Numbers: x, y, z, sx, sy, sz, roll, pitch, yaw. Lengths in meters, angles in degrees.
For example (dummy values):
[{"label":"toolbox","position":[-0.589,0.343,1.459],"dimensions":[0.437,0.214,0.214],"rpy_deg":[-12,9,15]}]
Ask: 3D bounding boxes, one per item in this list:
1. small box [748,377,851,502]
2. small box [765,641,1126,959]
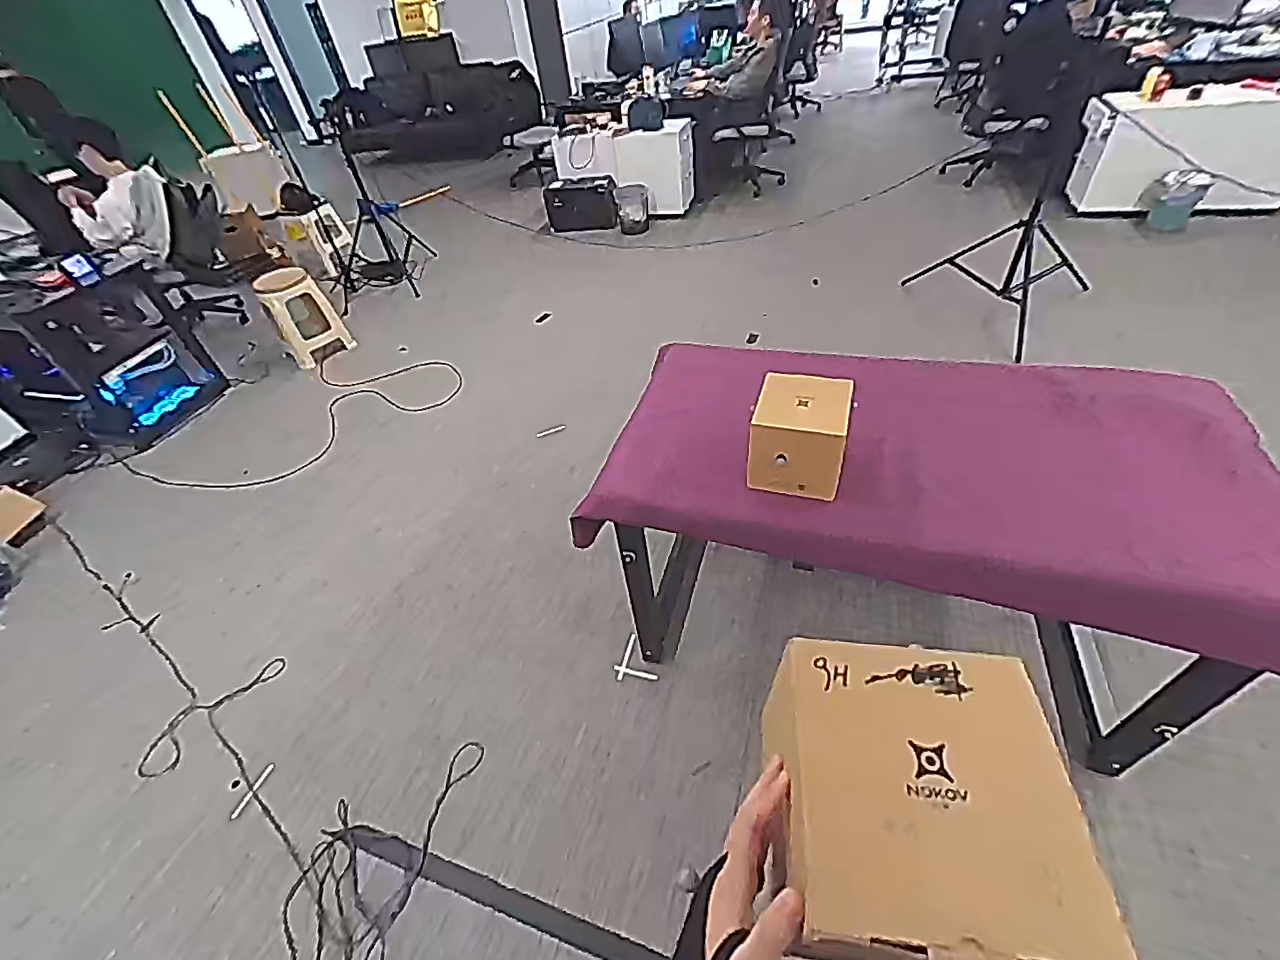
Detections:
[{"label":"small box","position":[0.311,-0.080,1.064],"dimensions":[0.168,0.176,0.179],"rpy_deg":[10,45,18]},{"label":"small box","position":[0.188,0.244,0.403],"dimensions":[0.168,0.176,0.179],"rpy_deg":[4,47,6]}]
